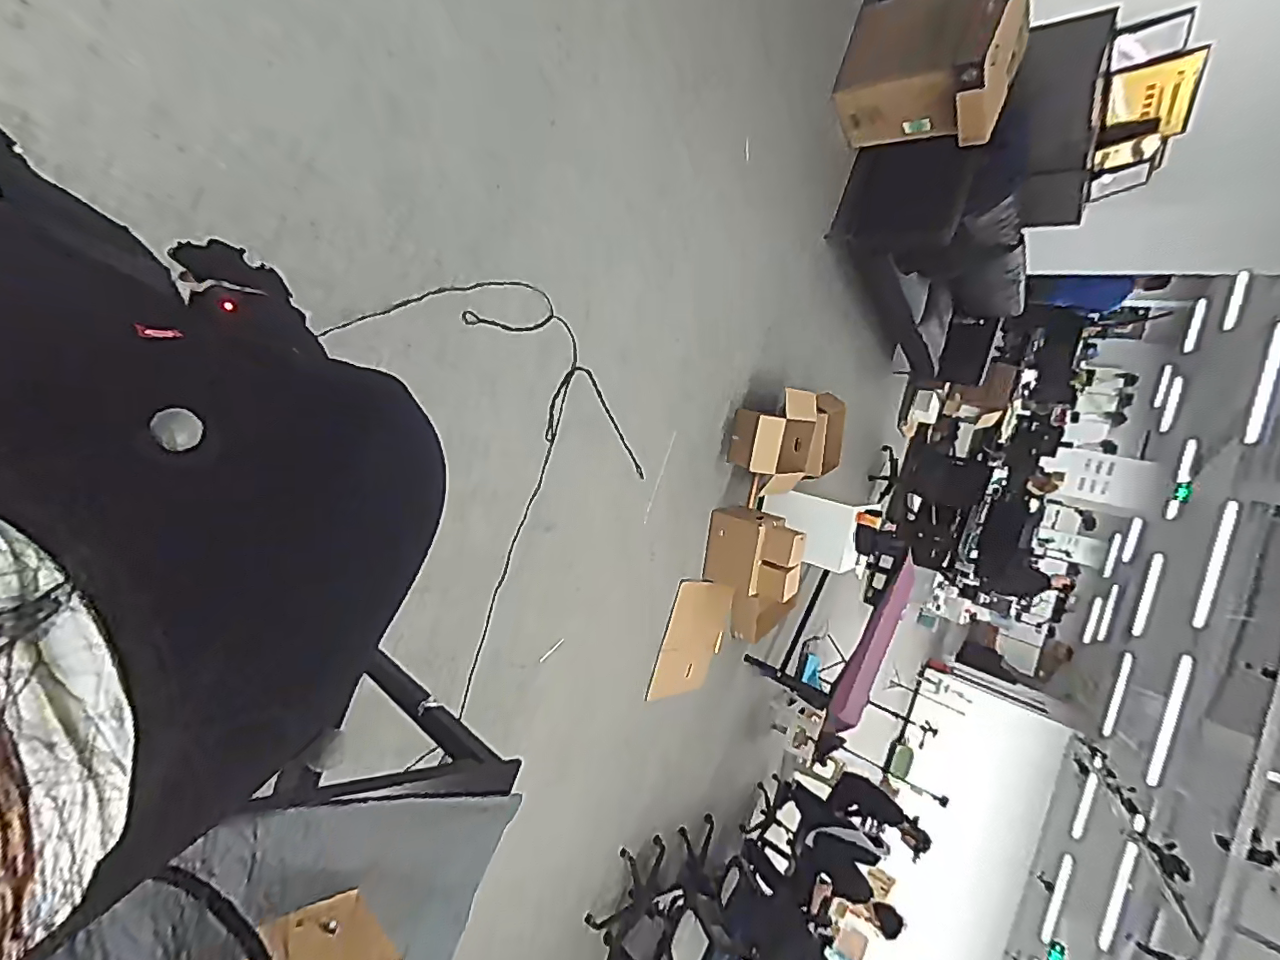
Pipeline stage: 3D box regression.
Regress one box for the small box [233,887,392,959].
[{"bbox_3d":[-0.518,0.786,0.827,0.168,0.176,0.179,21,86,-52],"label":"small box"}]
